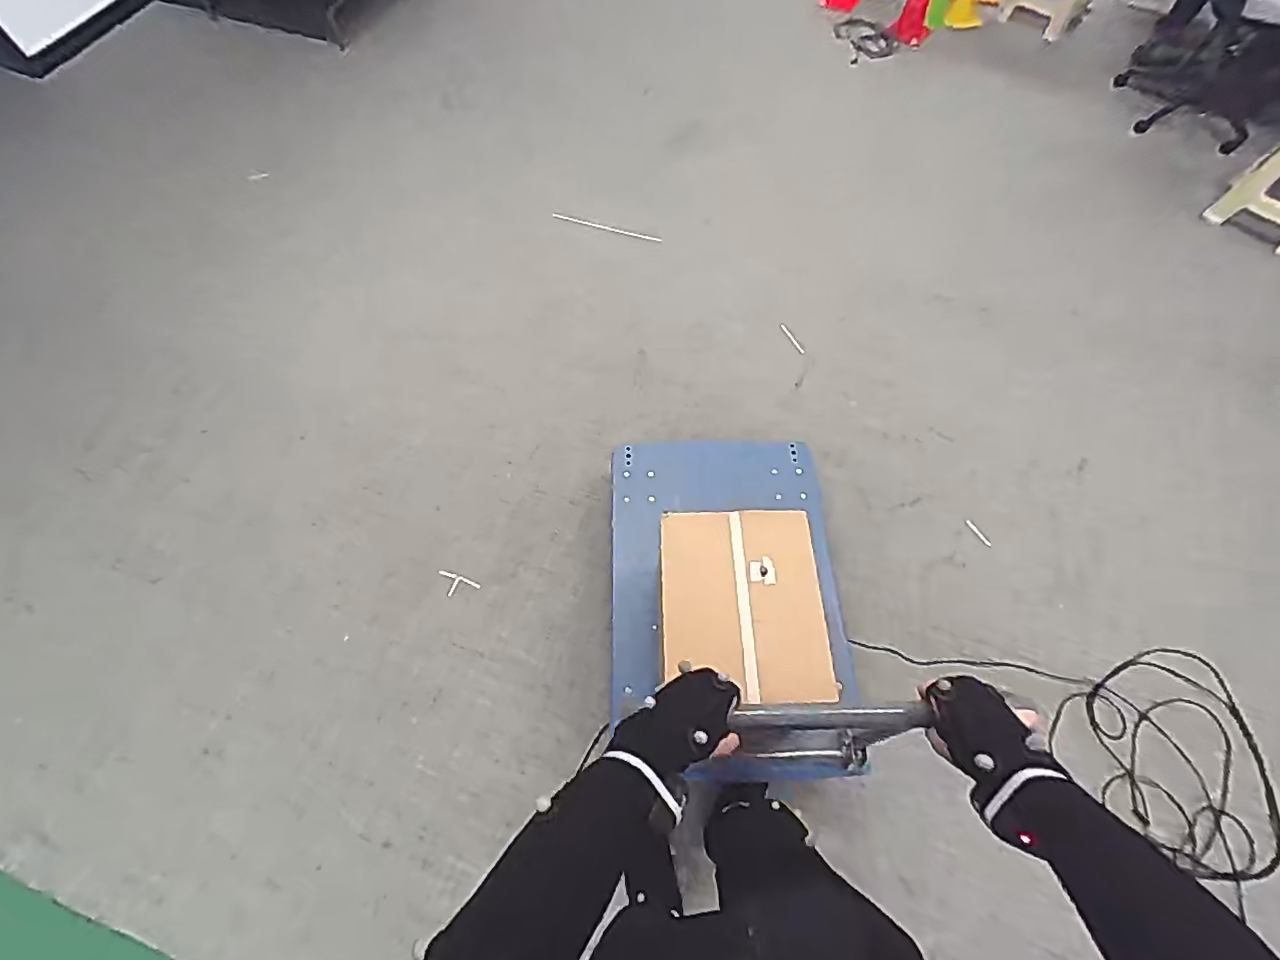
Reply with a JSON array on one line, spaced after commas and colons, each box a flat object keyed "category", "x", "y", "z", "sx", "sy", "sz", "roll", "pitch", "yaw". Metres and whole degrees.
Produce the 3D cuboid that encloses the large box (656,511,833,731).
[{"category": "large box", "x": 0.197, "y": 0.320, "z": 1.203, "sx": 0.320, "sy": 0.320, "sz": 0.408, "roll": -1, "pitch": 59, "yaw": 0}]
